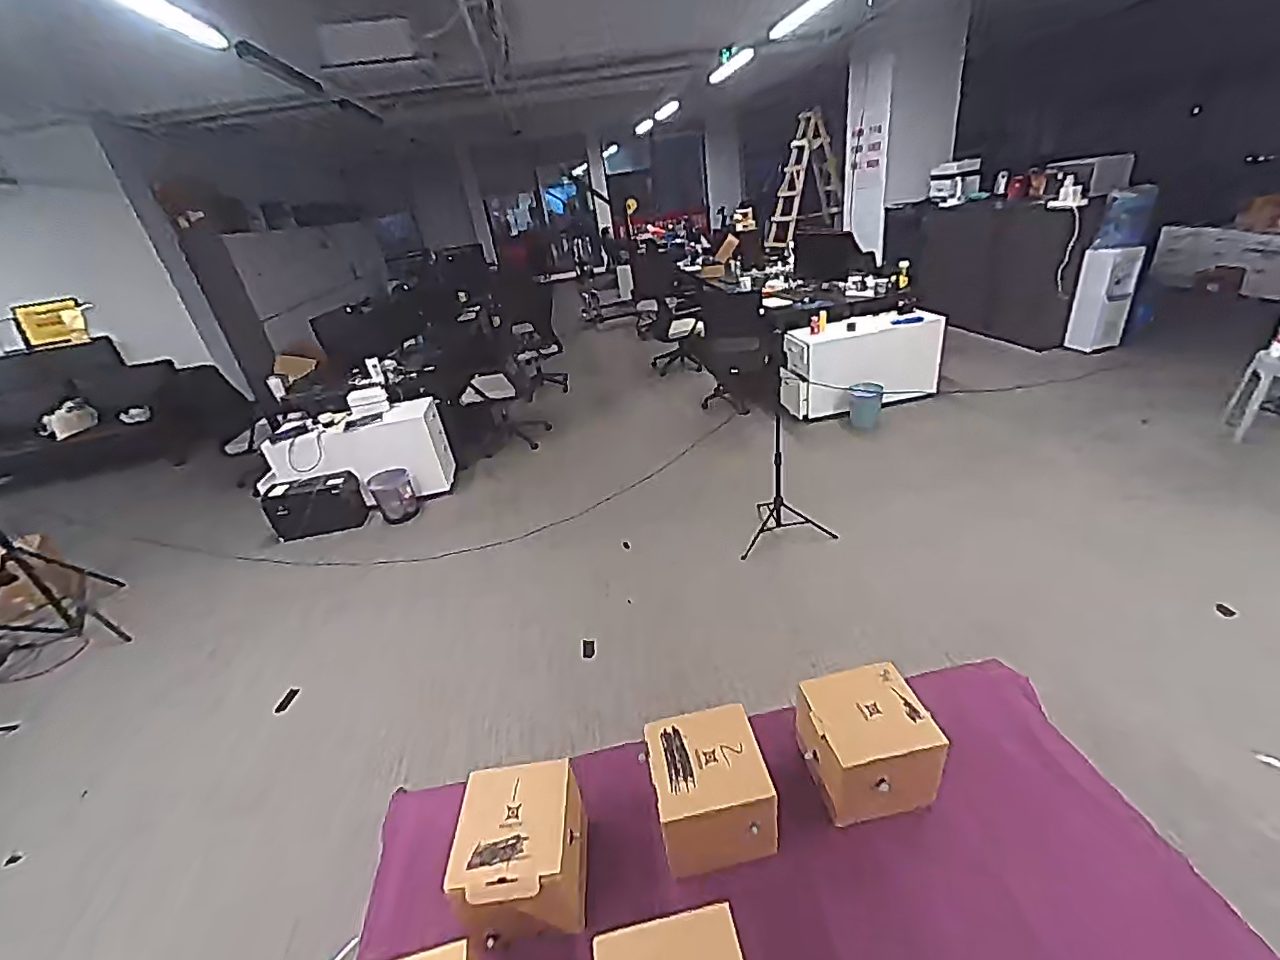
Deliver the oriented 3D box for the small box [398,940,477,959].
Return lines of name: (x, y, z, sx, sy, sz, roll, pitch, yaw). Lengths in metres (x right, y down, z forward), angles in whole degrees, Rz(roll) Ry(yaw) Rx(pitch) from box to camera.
small box: (-0.267, 0.696, 0.626, 0.168, 0.176, 0.179, -11, 29, -9)

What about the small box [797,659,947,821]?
small box: (0.382, 0.439, 0.914, 0.179, 0.176, 0.168, -12, 31, -3)

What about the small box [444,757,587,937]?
small box: (-0.178, 0.570, 0.838, 0.168, 0.176, 0.179, -8, 28, 1)

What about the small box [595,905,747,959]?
small box: (0.052, 0.646, 0.630, 0.179, 0.176, 0.168, -12, 29, -4)
